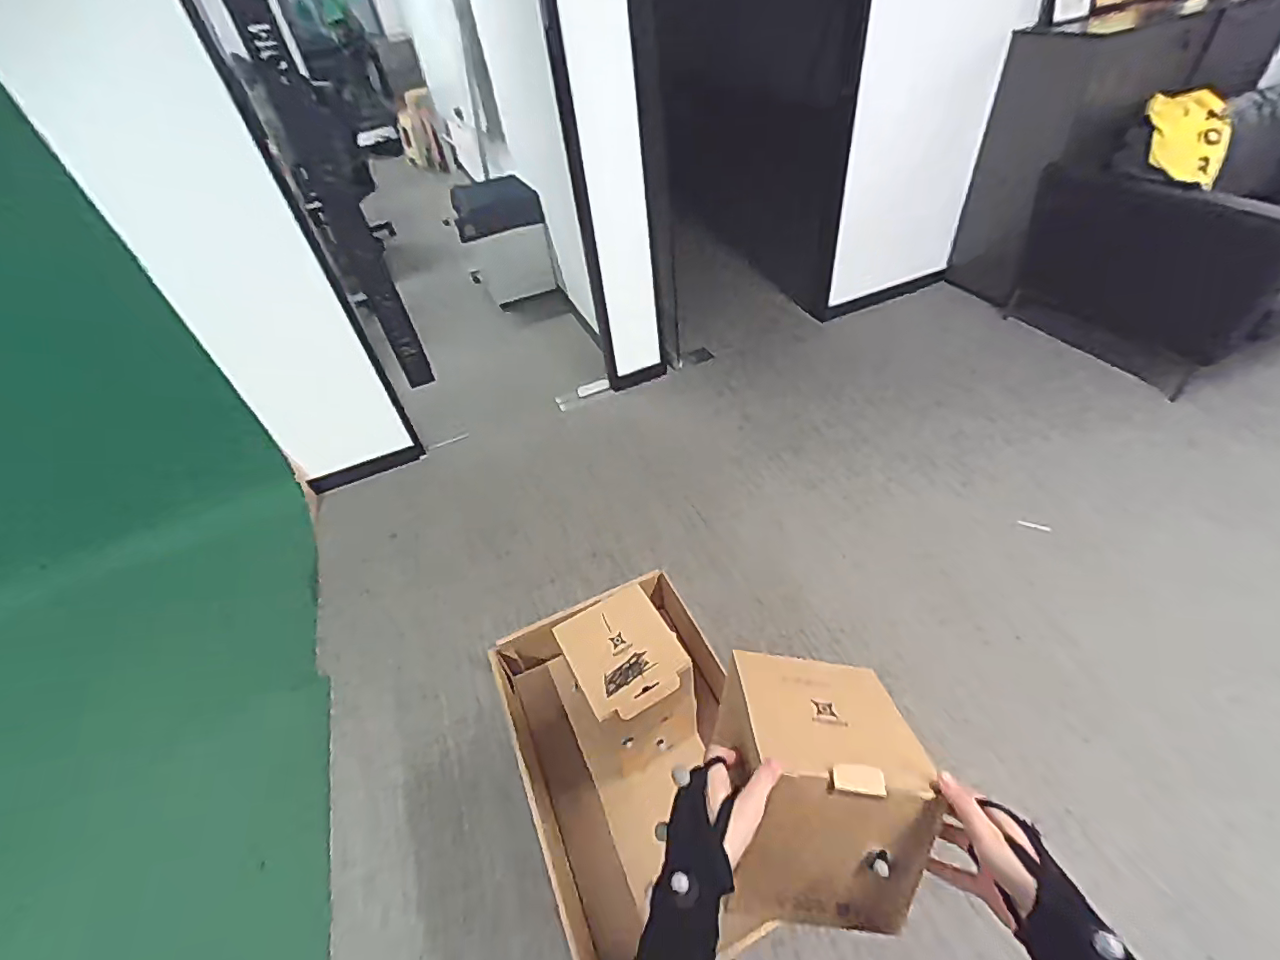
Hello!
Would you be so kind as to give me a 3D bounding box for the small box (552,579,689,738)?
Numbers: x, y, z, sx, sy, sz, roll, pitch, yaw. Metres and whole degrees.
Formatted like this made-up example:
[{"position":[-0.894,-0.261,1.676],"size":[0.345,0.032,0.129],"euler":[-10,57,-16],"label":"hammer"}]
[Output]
[{"position":[-0.027,0.309,0.914],"size":[0.168,0.176,0.179],"euler":[-25,49,-16],"label":"small box"}]
